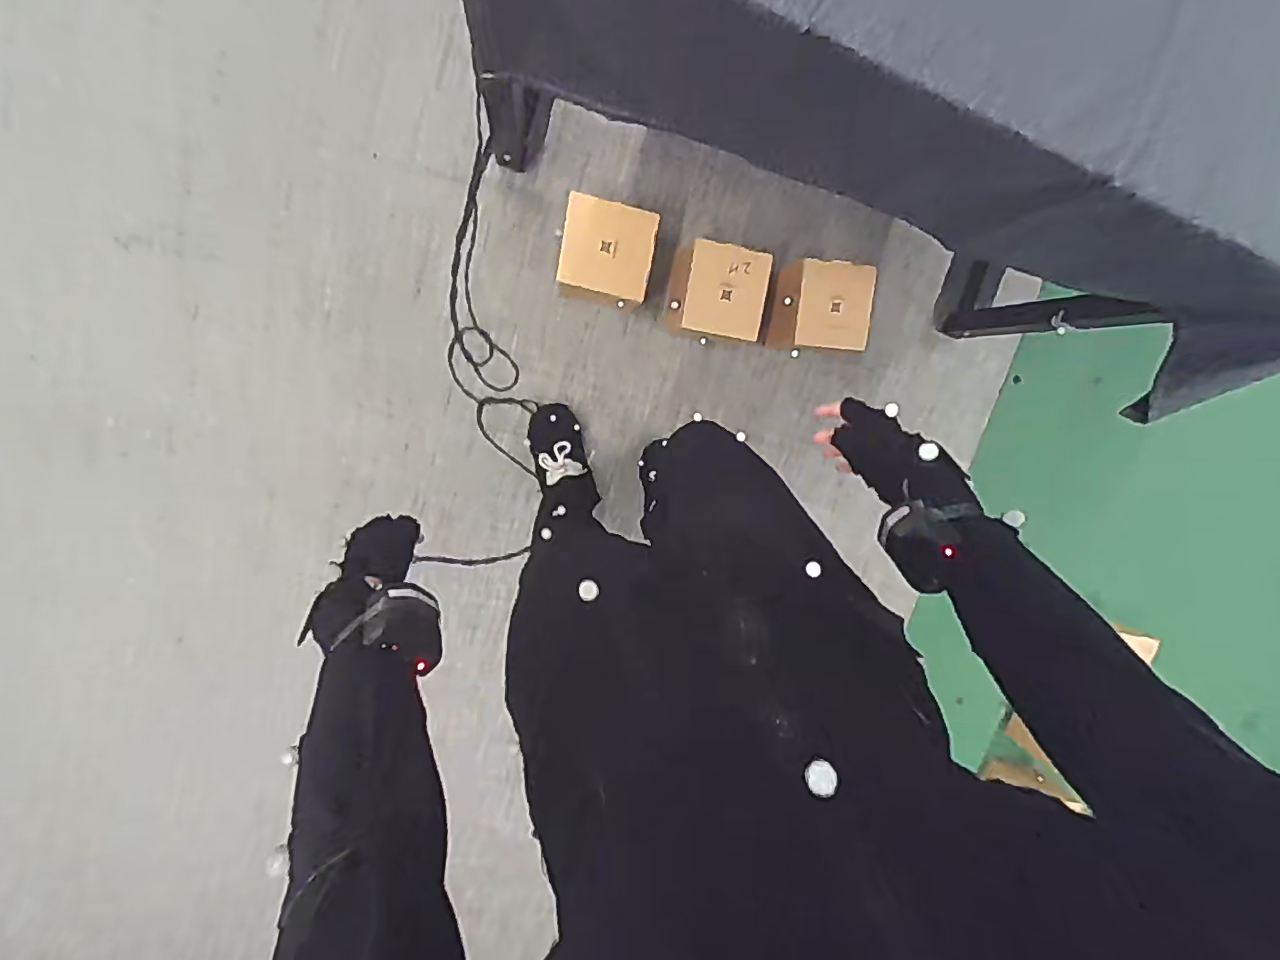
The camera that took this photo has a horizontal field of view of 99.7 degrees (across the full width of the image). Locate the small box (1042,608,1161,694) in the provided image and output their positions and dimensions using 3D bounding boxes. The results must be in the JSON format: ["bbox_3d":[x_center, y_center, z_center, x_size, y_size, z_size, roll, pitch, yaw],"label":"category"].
[{"bbox_3d":[1.319,0.485,1.557,0.179,0.176,0.168,14,99,-12],"label":"small box"}]

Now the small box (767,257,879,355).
[{"bbox_3d":[0.396,-0.377,1.199,0.168,0.176,0.179,2,101,-11],"label":"small box"}]
